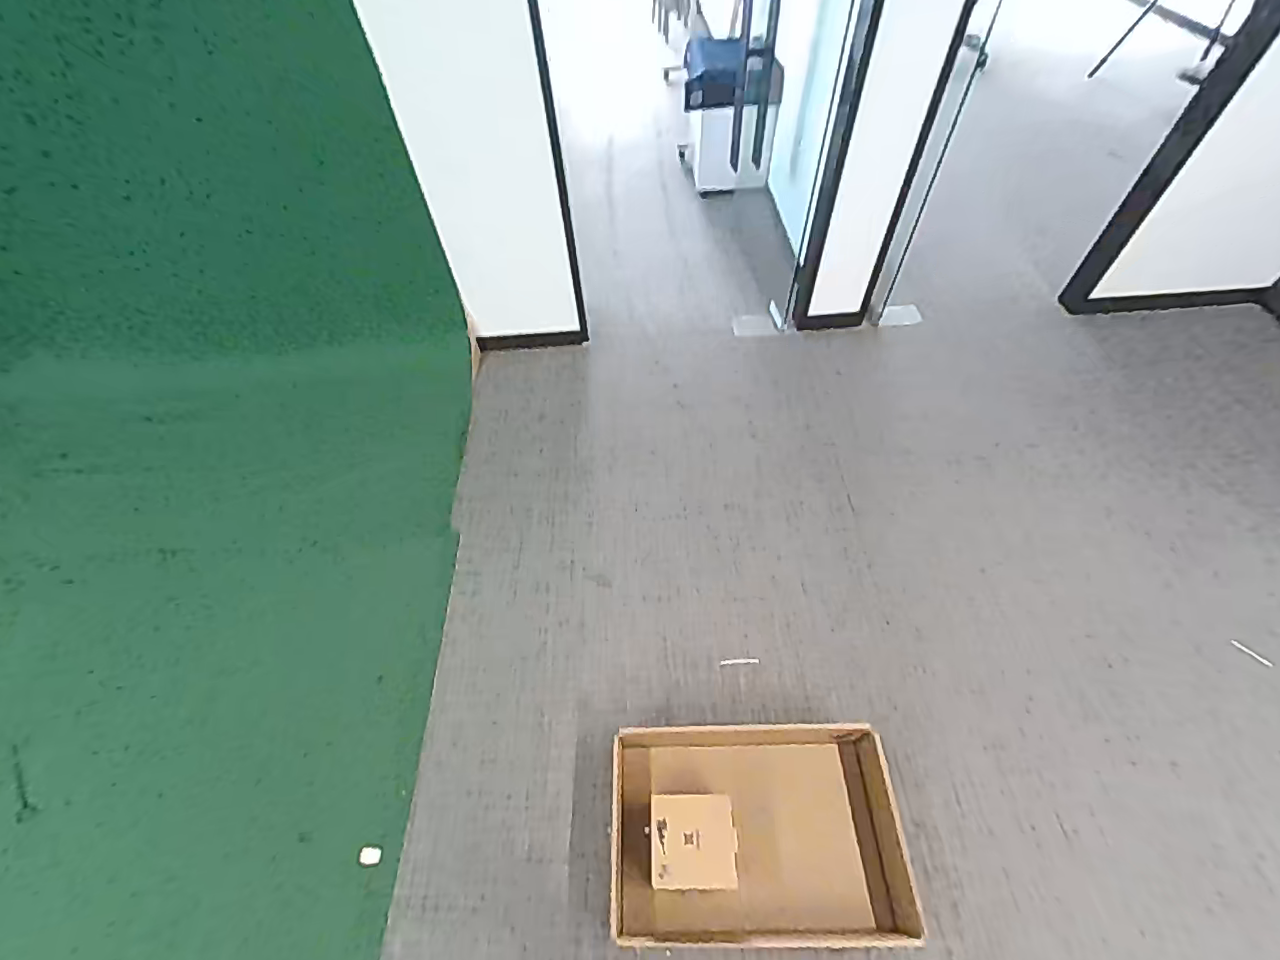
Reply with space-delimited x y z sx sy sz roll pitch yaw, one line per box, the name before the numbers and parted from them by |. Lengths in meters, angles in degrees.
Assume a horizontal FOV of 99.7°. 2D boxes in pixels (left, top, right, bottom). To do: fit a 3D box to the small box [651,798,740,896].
small box | 0.113 0.797 1.175 0.179 0.176 0.168 0 52 1
